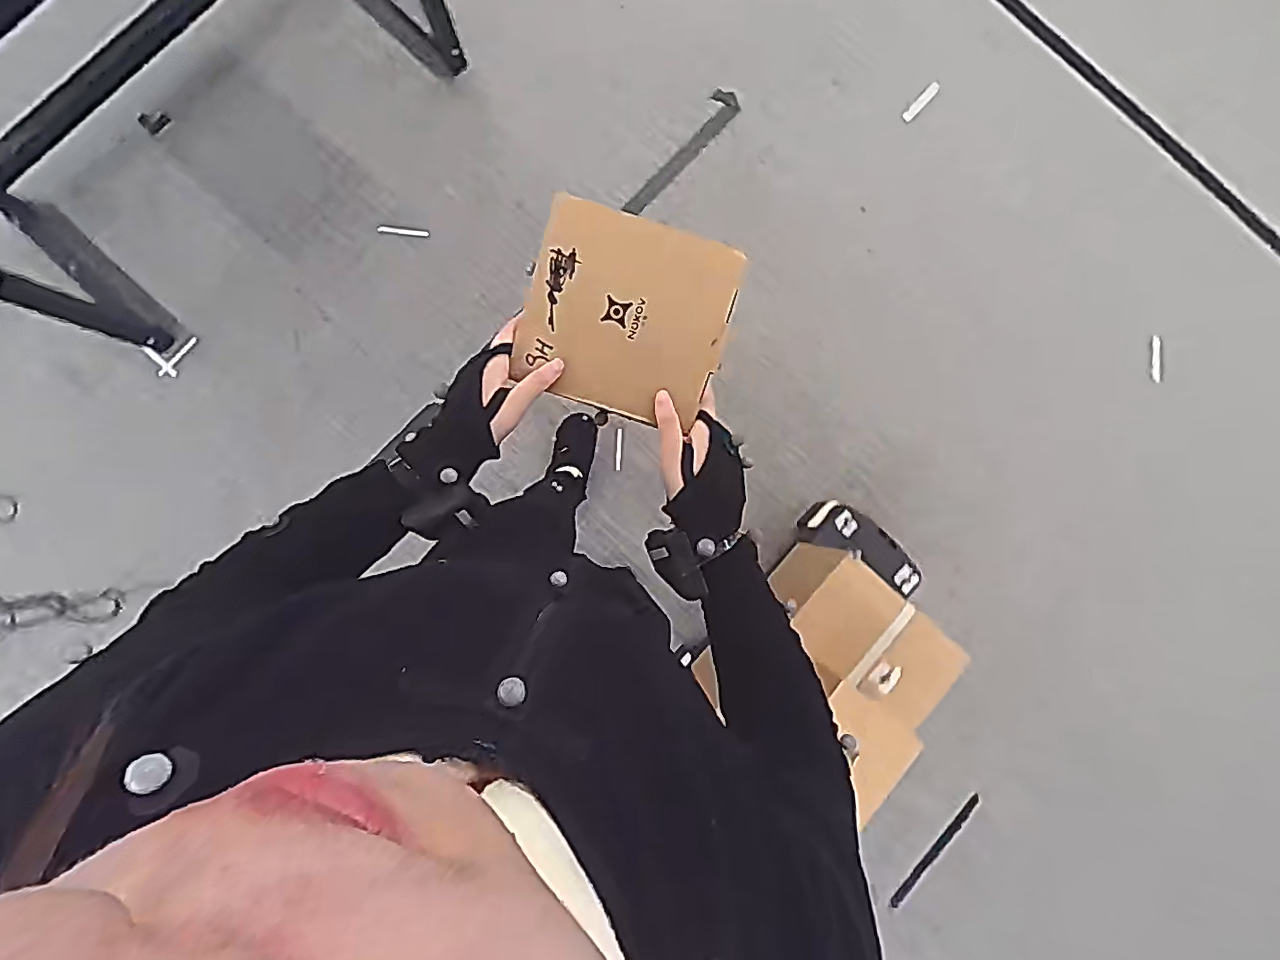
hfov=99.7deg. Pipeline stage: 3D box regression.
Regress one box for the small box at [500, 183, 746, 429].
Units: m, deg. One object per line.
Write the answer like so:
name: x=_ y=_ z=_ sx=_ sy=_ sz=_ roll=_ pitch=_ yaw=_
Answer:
small box: x=-0.017 y=-0.155 z=0.542 sx=0.179 sy=0.176 sz=0.168 roll=17 pitch=95 yaw=-3

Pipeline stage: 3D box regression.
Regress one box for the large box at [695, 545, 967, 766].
large box: x=0.373 y=0.392 z=1.157 sx=0.320 sy=0.320 sz=0.408 roll=42 pitch=85 yaw=0

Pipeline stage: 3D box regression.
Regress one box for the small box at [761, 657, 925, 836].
small box: x=0.323 y=0.431 z=0.907 sx=0.168 sy=0.176 sz=0.179 roll=41 pitch=86 yaw=1
